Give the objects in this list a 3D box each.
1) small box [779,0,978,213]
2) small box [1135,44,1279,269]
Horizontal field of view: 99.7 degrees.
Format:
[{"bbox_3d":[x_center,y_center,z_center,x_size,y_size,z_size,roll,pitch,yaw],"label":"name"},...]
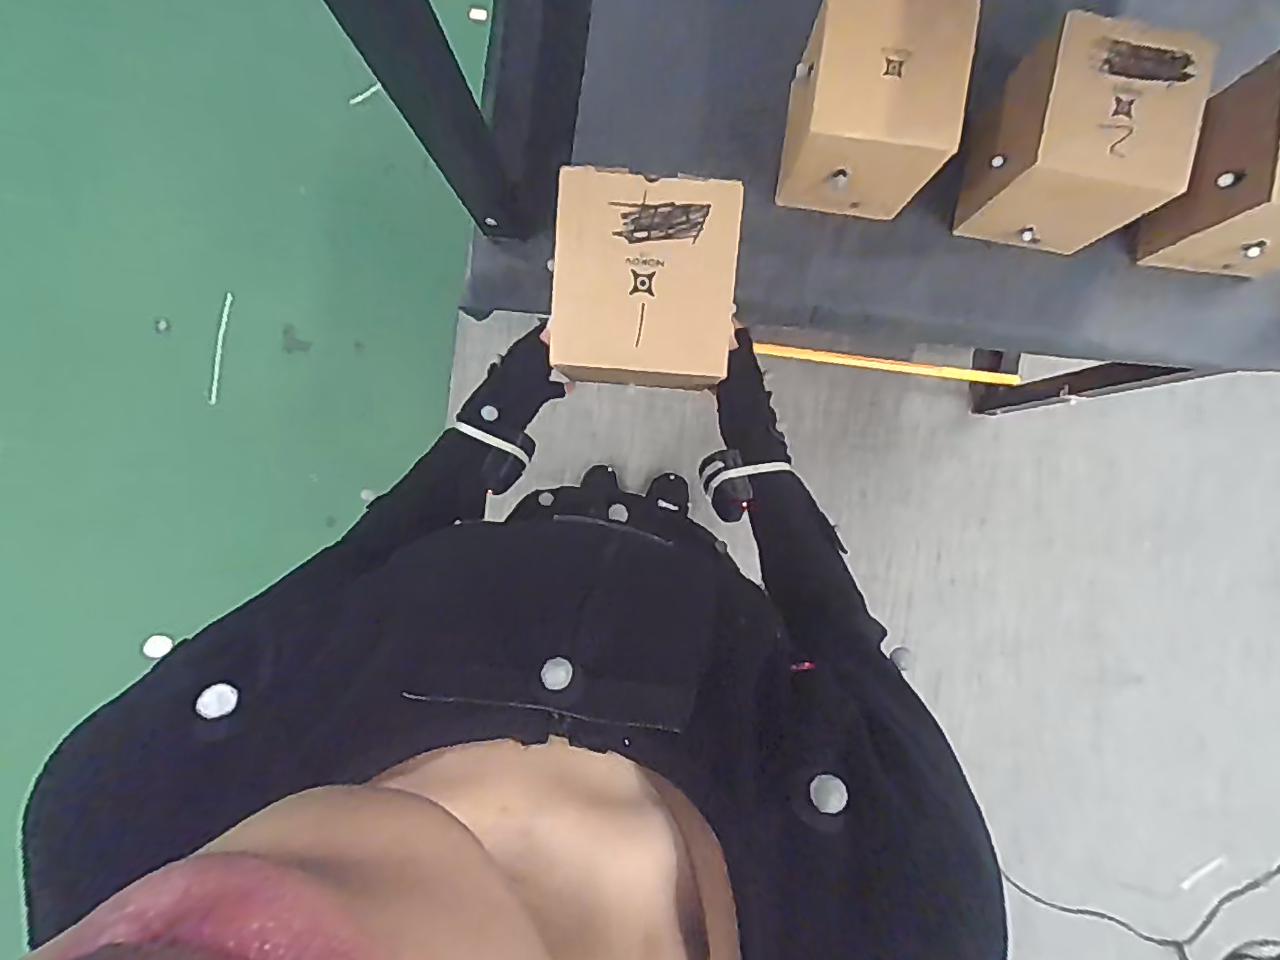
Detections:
[{"bbox_3d":[0.279,-0.462,0.674,0.168,0.176,0.179,8,90,1],"label":"small box"},{"bbox_3d":[0.765,-0.379,0.662,0.168,0.176,0.179,7,90,1],"label":"small box"}]
